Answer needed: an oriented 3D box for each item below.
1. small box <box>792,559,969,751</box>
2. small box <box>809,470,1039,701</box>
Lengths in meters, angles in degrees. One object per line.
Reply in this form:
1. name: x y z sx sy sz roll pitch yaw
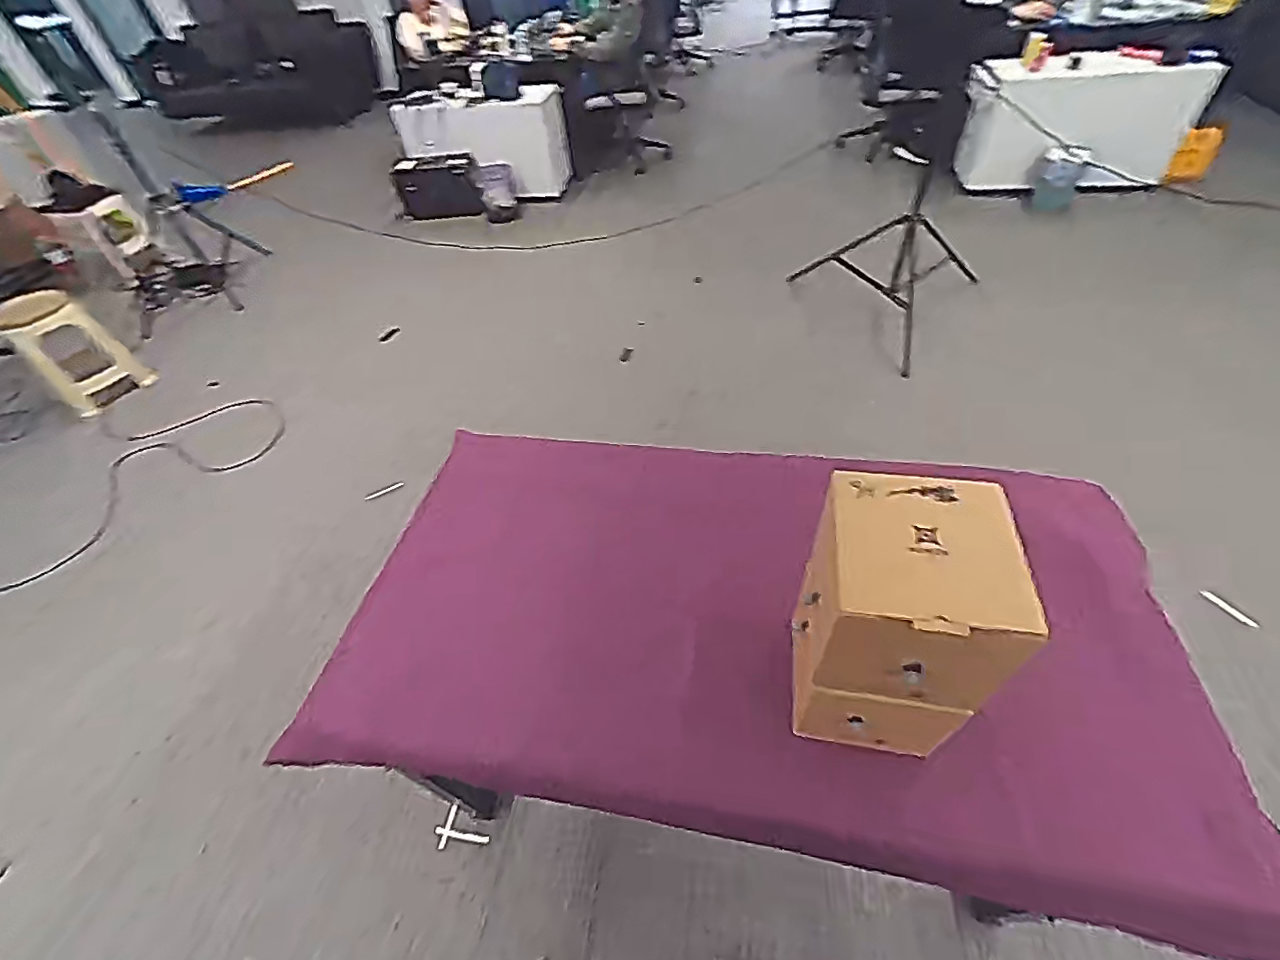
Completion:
1. small box: 0.290 0.226 0.694 0.168 0.176 0.179 4 48 11
2. small box: 0.278 0.113 0.575 0.168 0.176 0.179 5 49 11
